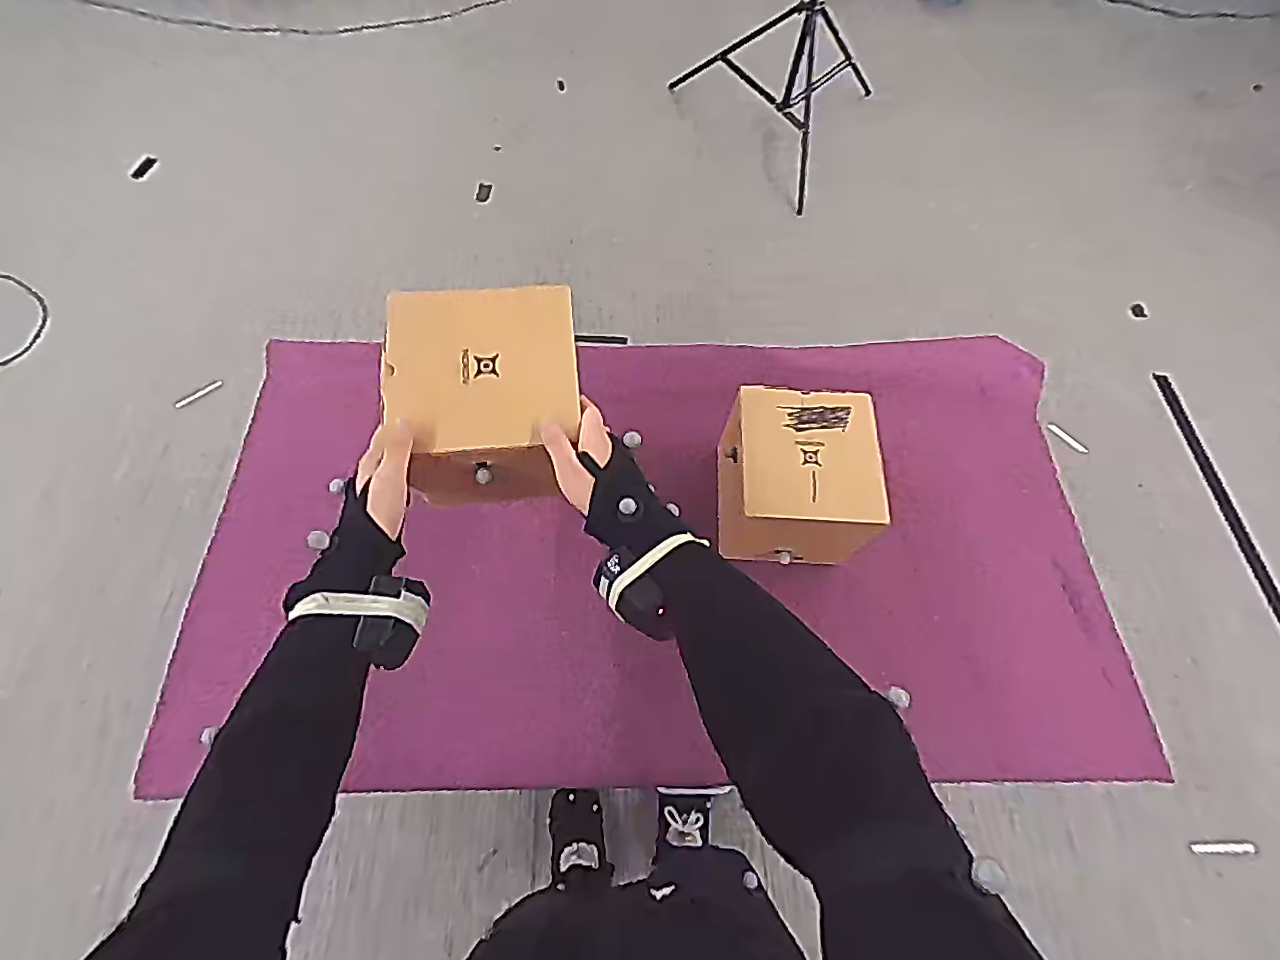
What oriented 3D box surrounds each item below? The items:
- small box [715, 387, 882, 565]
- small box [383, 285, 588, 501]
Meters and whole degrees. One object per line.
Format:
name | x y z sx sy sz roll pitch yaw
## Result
small box | 0.192 0.001 0.713 0.168 0.176 0.179 3 66 -1
small box | -0.147 -0.081 0.565 0.179 0.176 0.168 -5 74 -5
